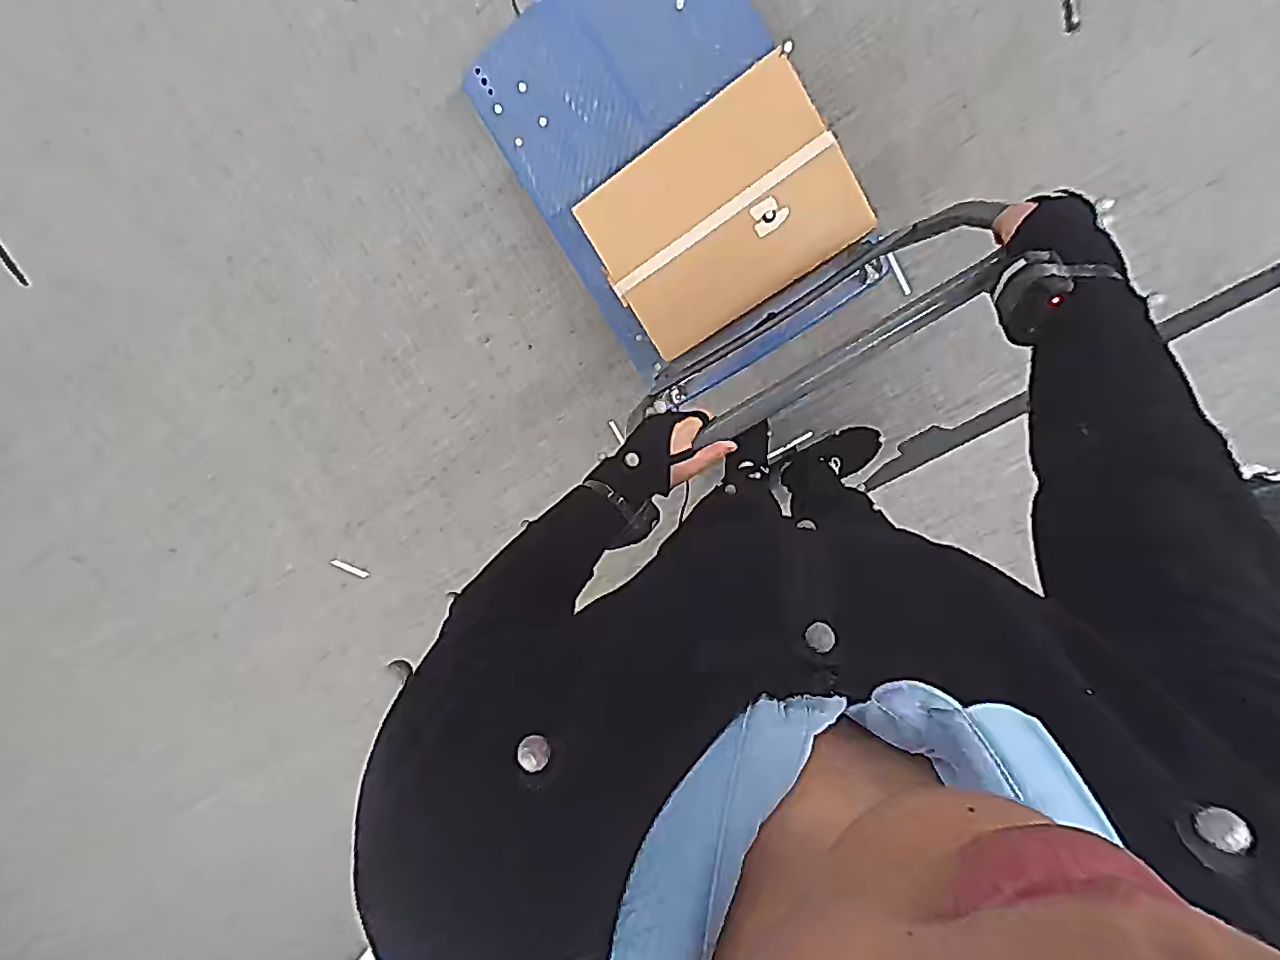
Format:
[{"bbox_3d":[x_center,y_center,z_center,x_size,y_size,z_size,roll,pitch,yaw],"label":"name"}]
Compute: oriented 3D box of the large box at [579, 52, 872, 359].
[{"bbox_3d":[0.156,-0.472,1.046,0.408,0.320,0.320,-31,97,15],"label":"large box"}]
